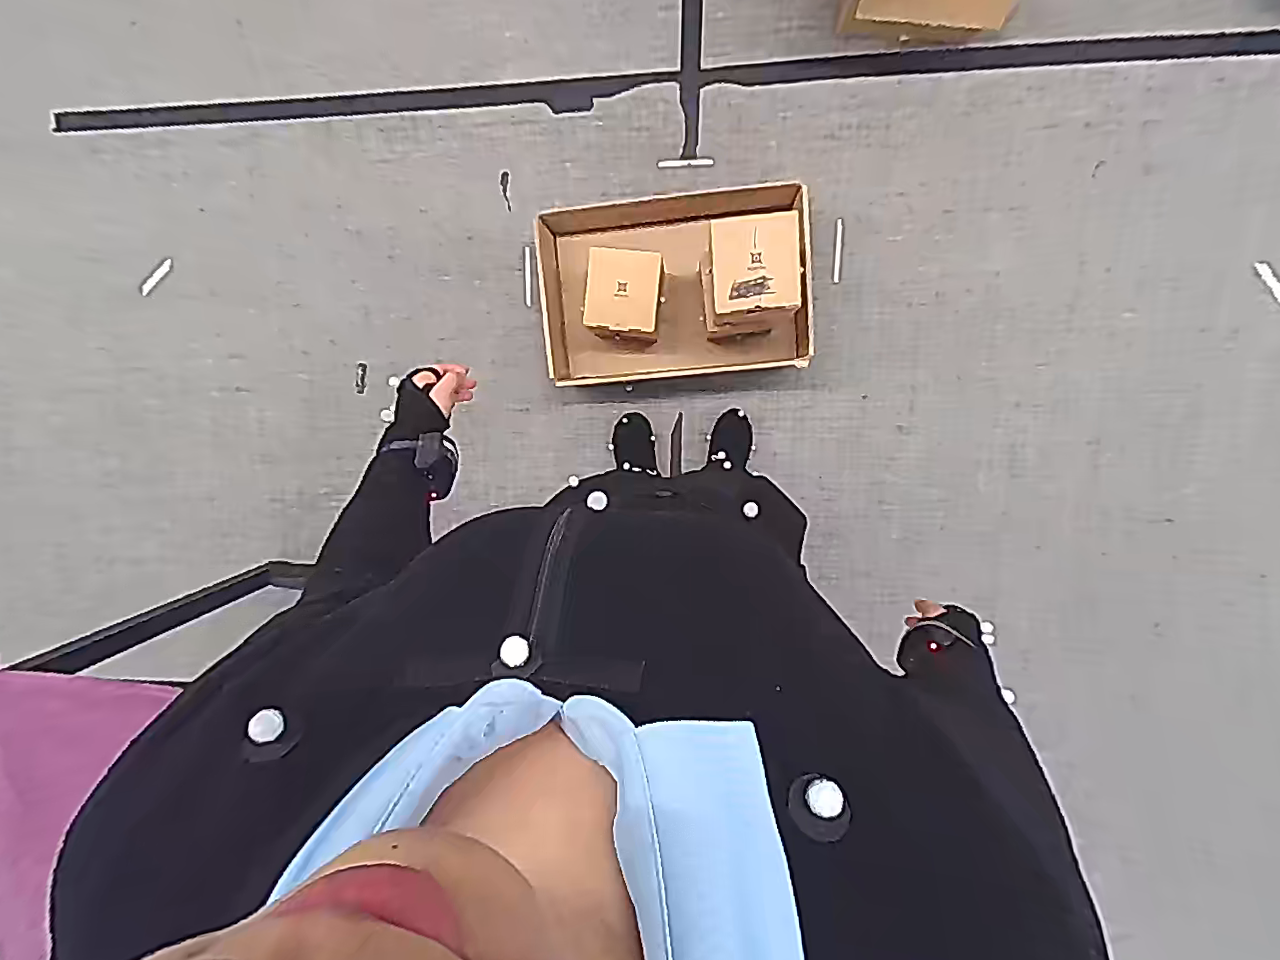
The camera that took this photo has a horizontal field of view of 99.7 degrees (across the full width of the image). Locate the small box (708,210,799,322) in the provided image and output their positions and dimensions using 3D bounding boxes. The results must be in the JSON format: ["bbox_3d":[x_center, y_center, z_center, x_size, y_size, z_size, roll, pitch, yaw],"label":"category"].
[{"bbox_3d":[0.226,-0.425,1.104,0.168,0.176,0.179,-3,97,6],"label":"small box"}]

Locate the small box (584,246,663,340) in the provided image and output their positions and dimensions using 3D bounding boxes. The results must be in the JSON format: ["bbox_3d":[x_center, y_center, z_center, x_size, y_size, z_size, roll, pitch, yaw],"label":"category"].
[{"bbox_3d":[-0.035,-0.441,1.296,0.168,0.176,0.179,6,99,3],"label":"small box"}]
